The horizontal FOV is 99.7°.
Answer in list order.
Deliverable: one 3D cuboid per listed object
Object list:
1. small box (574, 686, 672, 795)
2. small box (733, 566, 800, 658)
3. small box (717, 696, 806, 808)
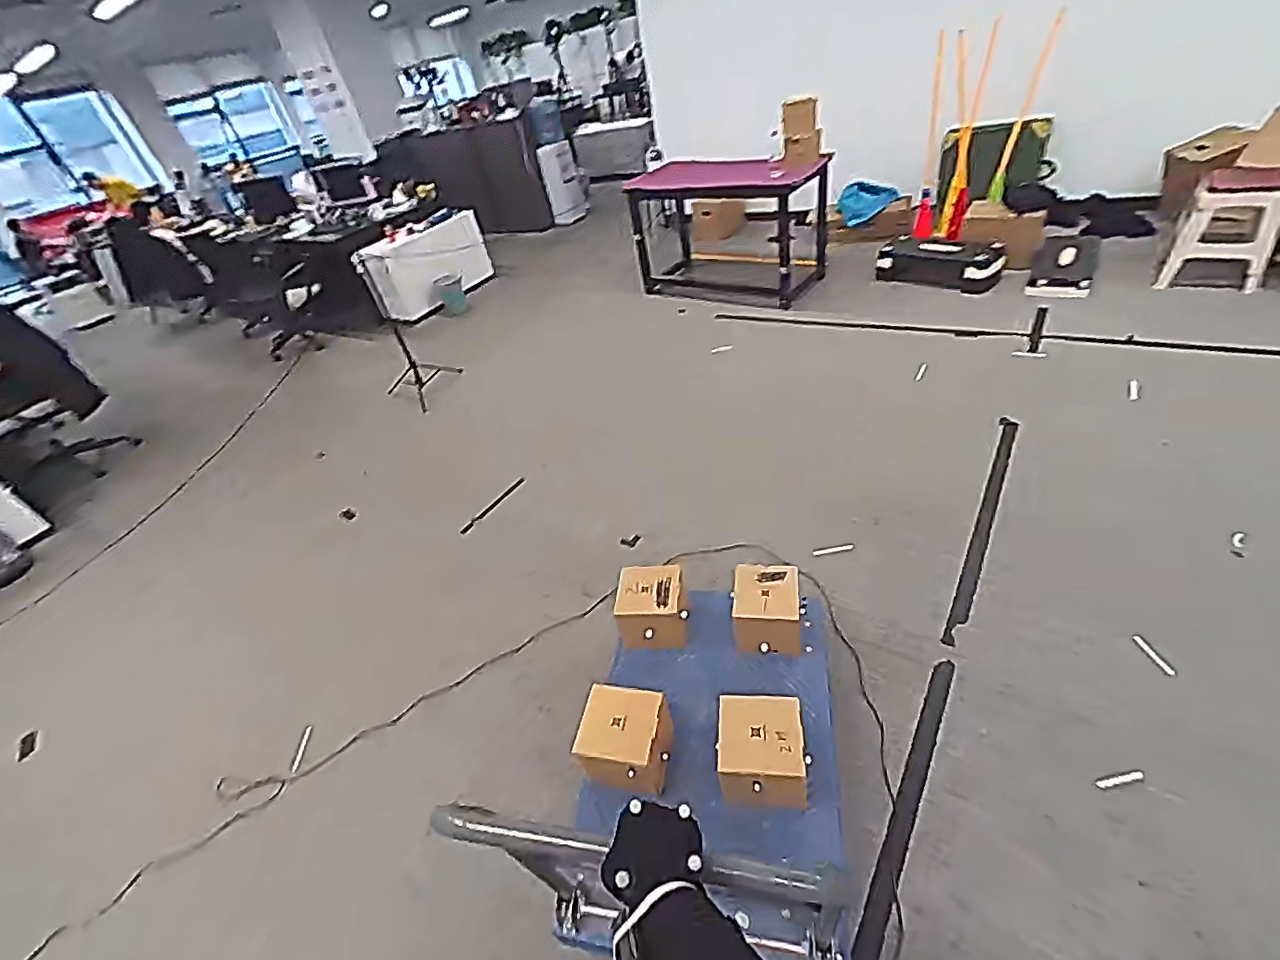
[{"bbox_3d":[-0.033,0.607,1.260,0.179,0.176,0.168,1,40,15],"label":"small box"},{"bbox_3d":[0.344,0.354,1.461,0.168,0.176,0.179,-1,41,15],"label":"small box"},{"bbox_3d":[0.268,0.596,1.184,0.179,0.176,0.168,-3,40,13],"label":"small box"}]
